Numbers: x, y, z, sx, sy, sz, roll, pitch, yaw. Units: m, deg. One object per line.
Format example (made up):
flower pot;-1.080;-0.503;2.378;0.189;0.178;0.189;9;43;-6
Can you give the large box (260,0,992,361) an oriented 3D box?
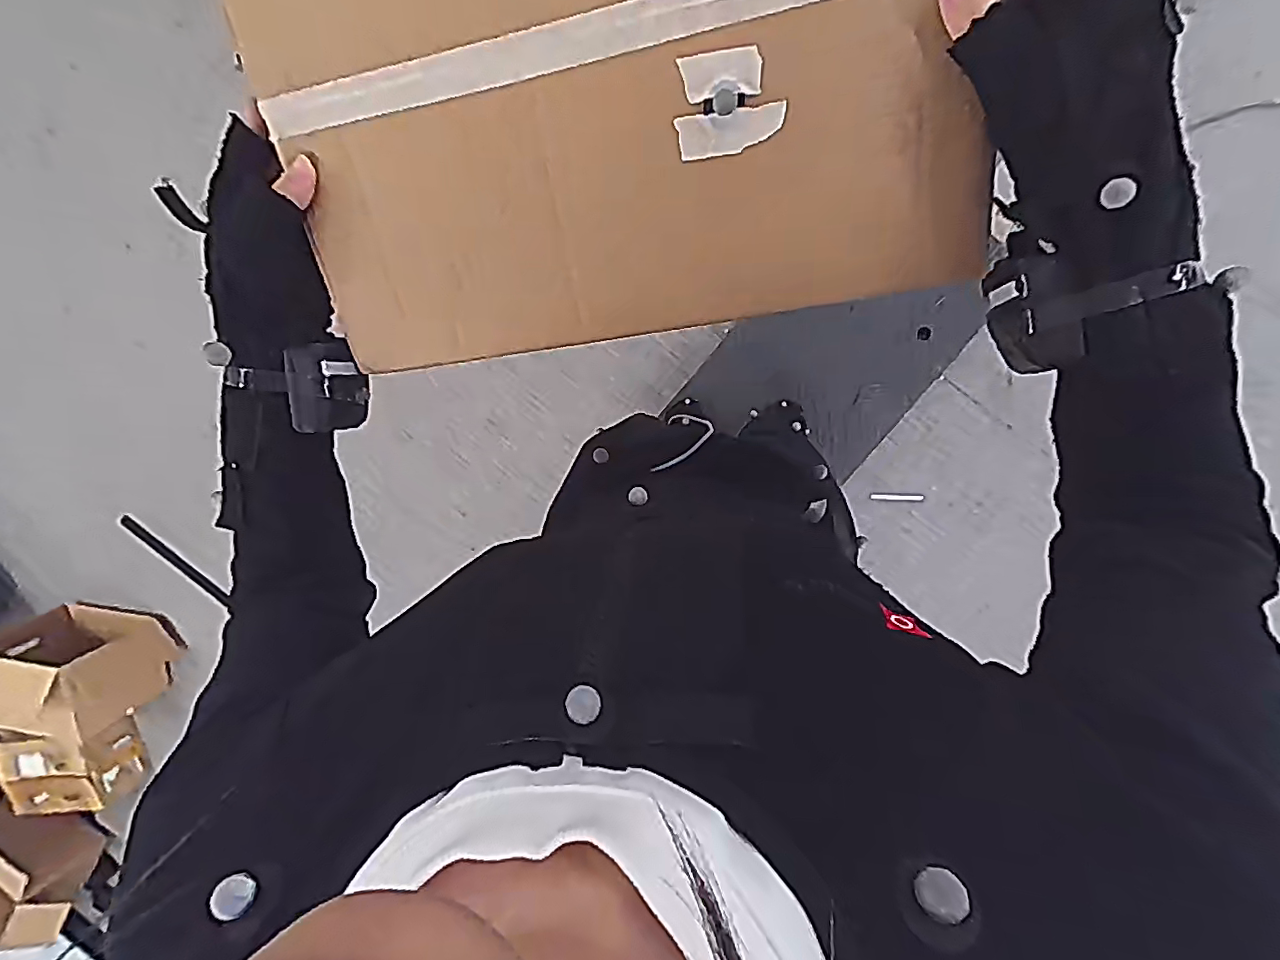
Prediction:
large box;-0.002;-0.305;0.436;0.408;0.320;0.320;-6;113;10
